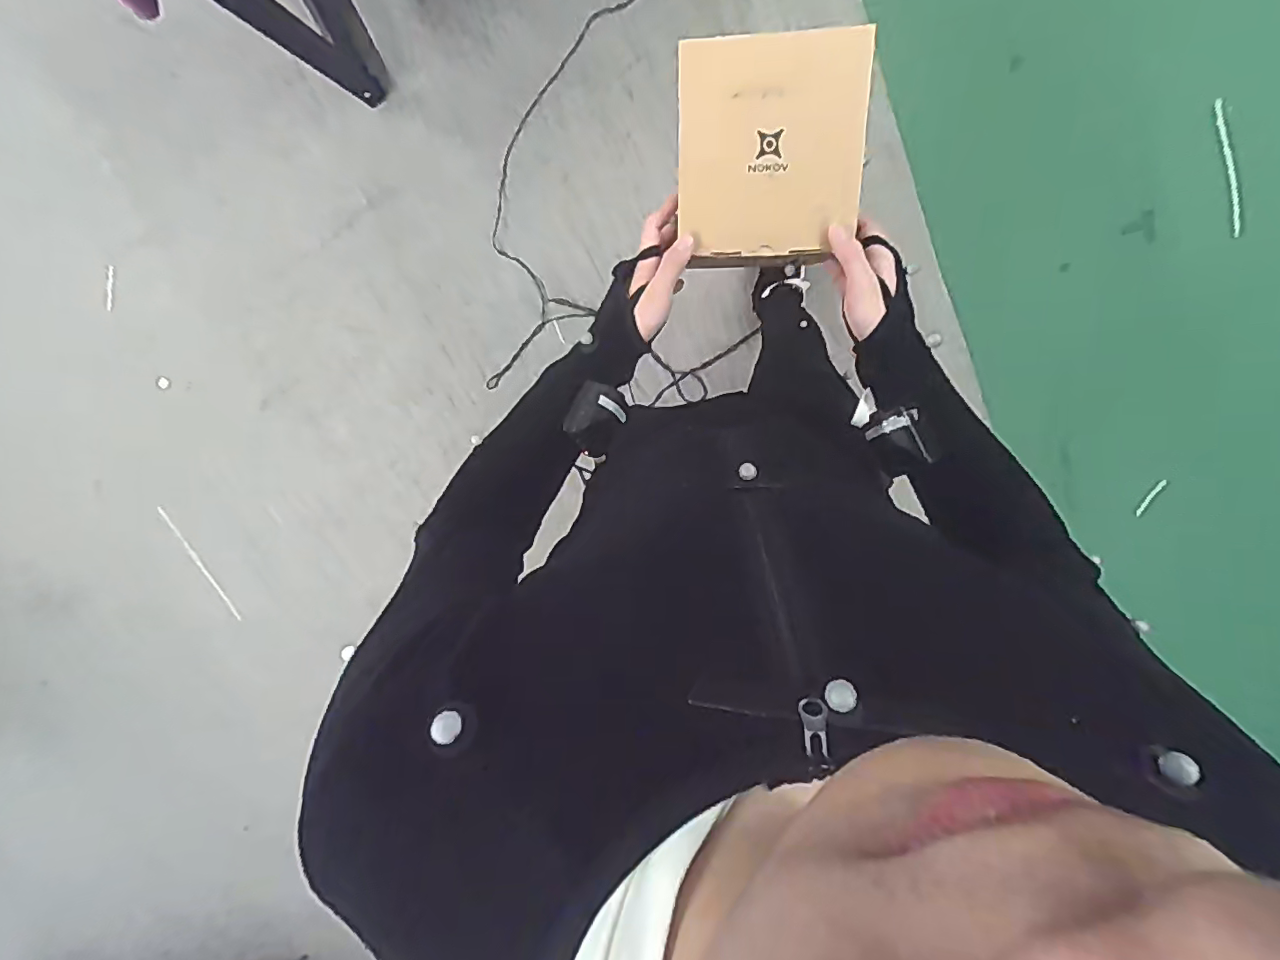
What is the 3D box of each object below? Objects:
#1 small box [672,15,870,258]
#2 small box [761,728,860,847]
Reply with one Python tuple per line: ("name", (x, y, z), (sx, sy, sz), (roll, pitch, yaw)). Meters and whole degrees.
("small box", (0.121, -0.325, 0.554), (0.168, 0.176, 0.179), (1, 108, 7))
("small box", (0.394, 0.713, 1.275), (0.168, 0.176, 0.179), (-18, 104, 12))
